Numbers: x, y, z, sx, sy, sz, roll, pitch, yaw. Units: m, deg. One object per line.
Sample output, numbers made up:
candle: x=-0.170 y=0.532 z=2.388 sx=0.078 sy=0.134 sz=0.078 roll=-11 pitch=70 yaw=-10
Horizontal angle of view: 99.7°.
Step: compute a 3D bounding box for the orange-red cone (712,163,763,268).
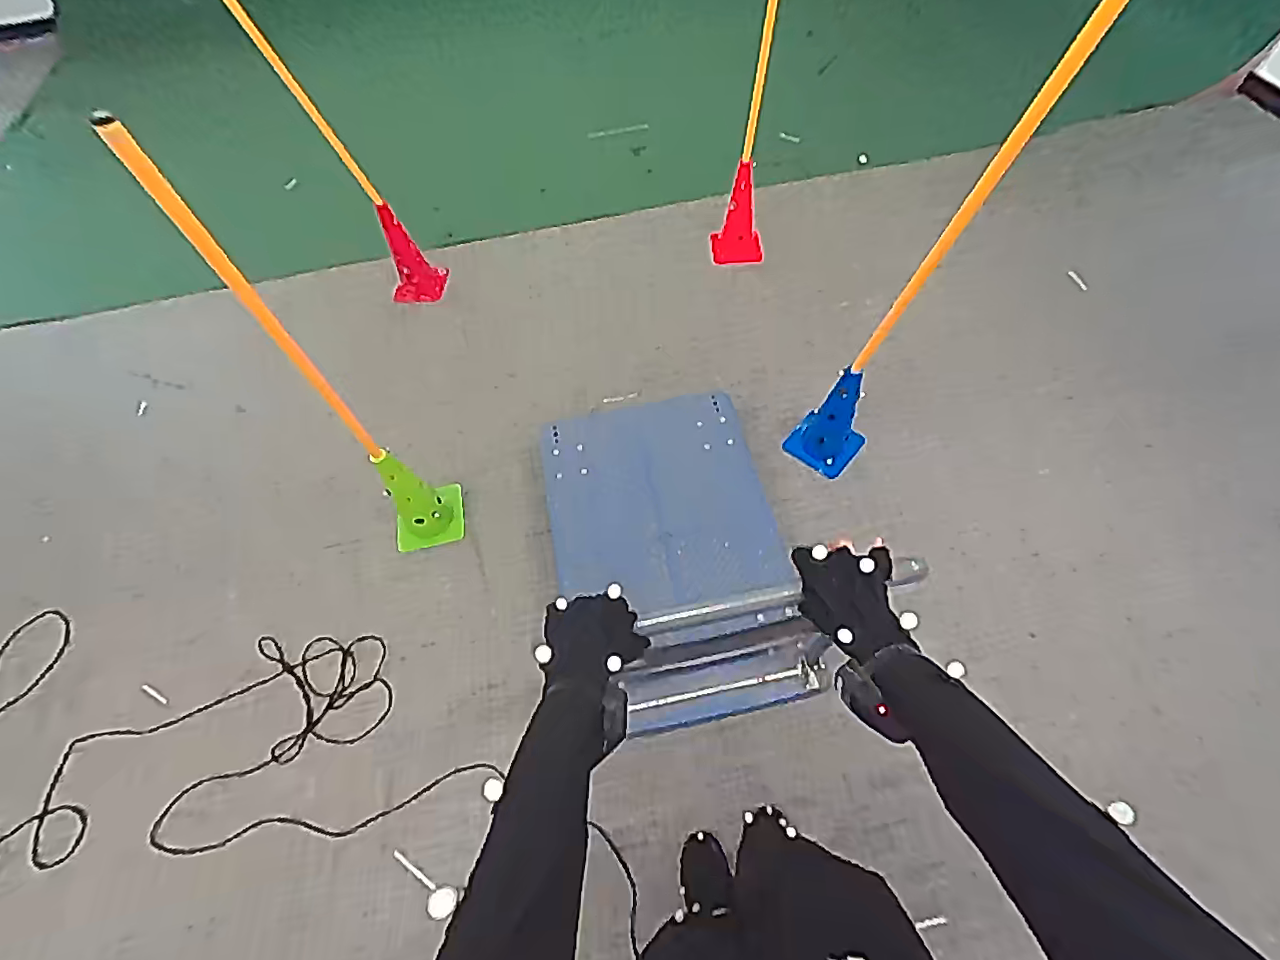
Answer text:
orange-red cone: x=0.387 y=-1.021 z=2.063 sx=0.198 sy=0.360 sz=0.199 roll=-2 pitch=60 yaw=3
